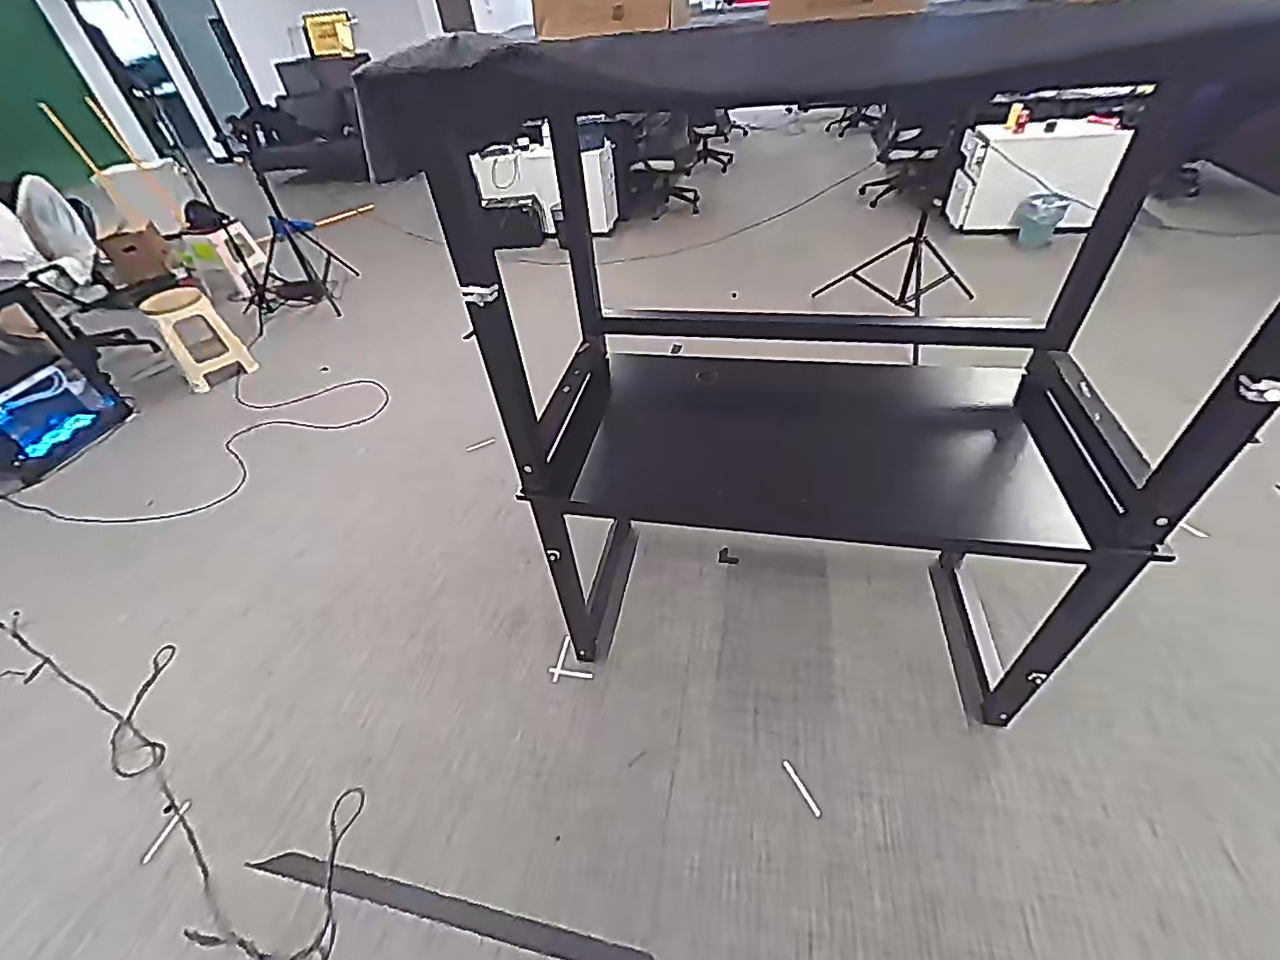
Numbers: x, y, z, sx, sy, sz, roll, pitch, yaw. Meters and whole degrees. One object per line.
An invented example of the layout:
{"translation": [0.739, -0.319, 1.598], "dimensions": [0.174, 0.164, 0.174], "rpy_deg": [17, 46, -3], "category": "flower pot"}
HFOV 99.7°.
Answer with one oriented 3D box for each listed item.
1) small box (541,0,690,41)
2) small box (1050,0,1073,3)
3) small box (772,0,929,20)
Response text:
{"translation": [-0.029, -0.638, 0.646], "dimensions": [0.168, 0.176, 0.179], "rpy_deg": [5, 42, 10], "category": "small box"}
{"translation": [0.531, -0.595, 0.535], "dimensions": [0.168, 0.176, 0.179], "rpy_deg": [8, 42, 15], "category": "small box"}
{"translation": [0.238, -0.618, 0.592], "dimensions": [0.168, 0.176, 0.179], "rpy_deg": [5, 42, 13], "category": "small box"}
